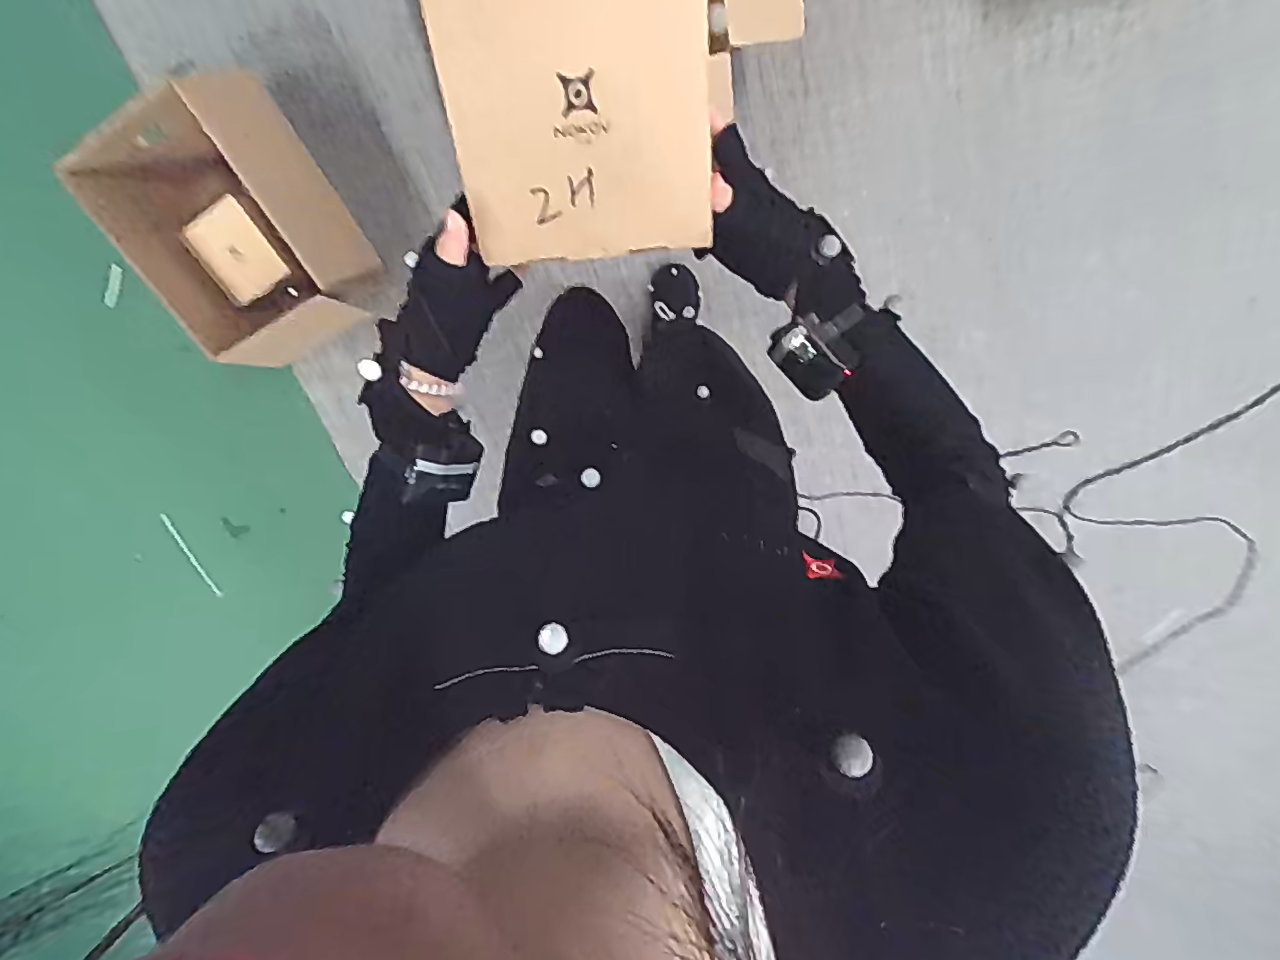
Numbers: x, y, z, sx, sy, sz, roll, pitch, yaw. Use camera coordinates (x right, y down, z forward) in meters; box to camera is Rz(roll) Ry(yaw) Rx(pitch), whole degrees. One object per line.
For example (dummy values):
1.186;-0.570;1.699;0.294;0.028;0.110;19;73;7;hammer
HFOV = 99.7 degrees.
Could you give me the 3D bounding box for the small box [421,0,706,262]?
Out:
-0.042;-0.276;0.406;0.168;0.176;0.179;-4;122;2;small box
